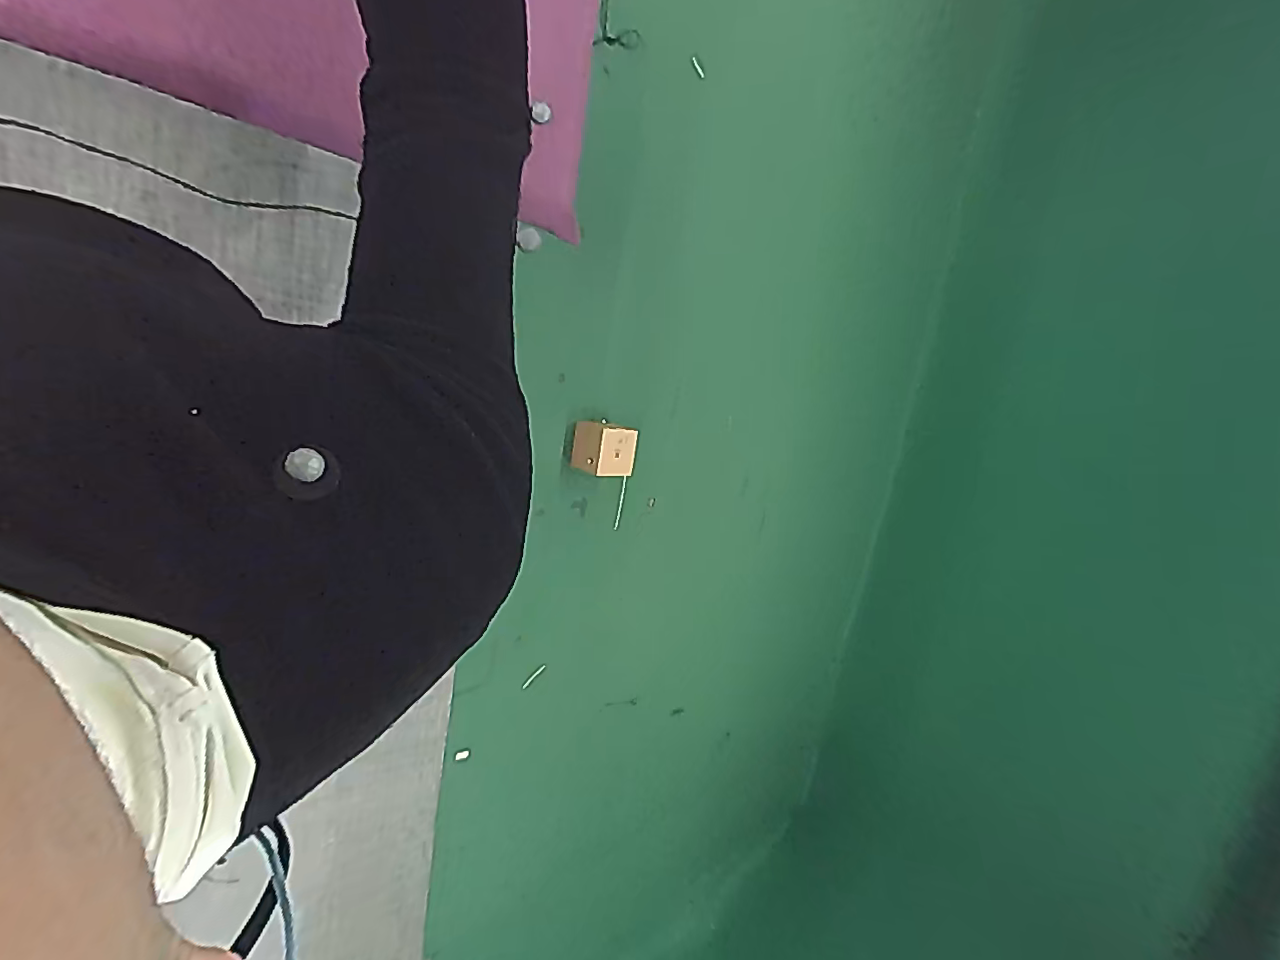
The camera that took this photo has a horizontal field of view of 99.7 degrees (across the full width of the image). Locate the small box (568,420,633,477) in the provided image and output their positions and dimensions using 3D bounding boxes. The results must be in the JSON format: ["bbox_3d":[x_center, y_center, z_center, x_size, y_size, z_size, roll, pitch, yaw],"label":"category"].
[{"bbox_3d":[-0.151,-0.118,2.012,0.168,0.176,0.179,0,104,-43],"label":"small box"}]
